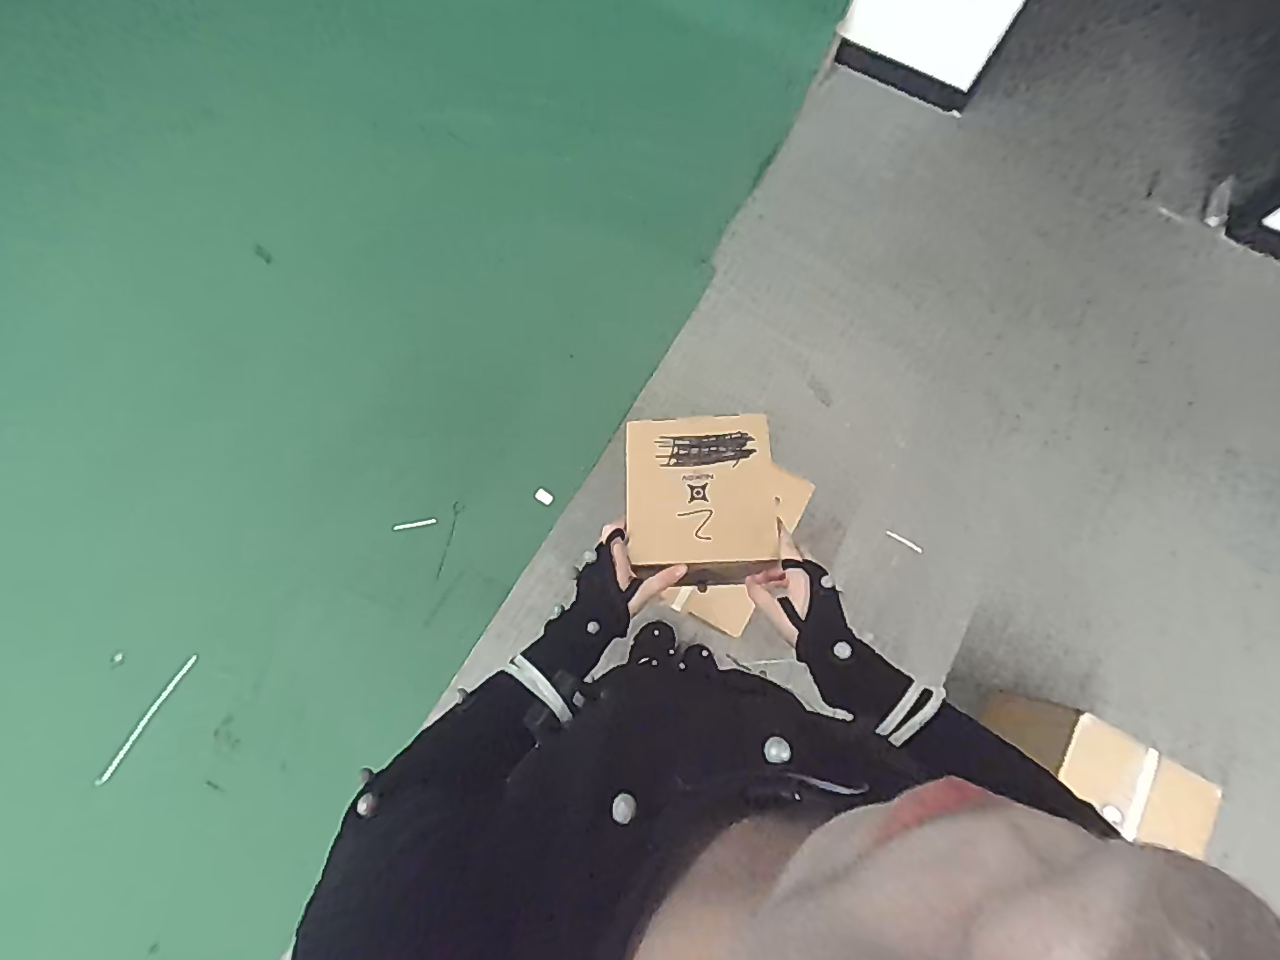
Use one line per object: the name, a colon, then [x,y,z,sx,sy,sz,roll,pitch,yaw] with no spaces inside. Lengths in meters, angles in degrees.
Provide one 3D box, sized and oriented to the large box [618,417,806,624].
large box: [0.173,0.117,1.390,0.320,0.320,0.408,27,79,6]
